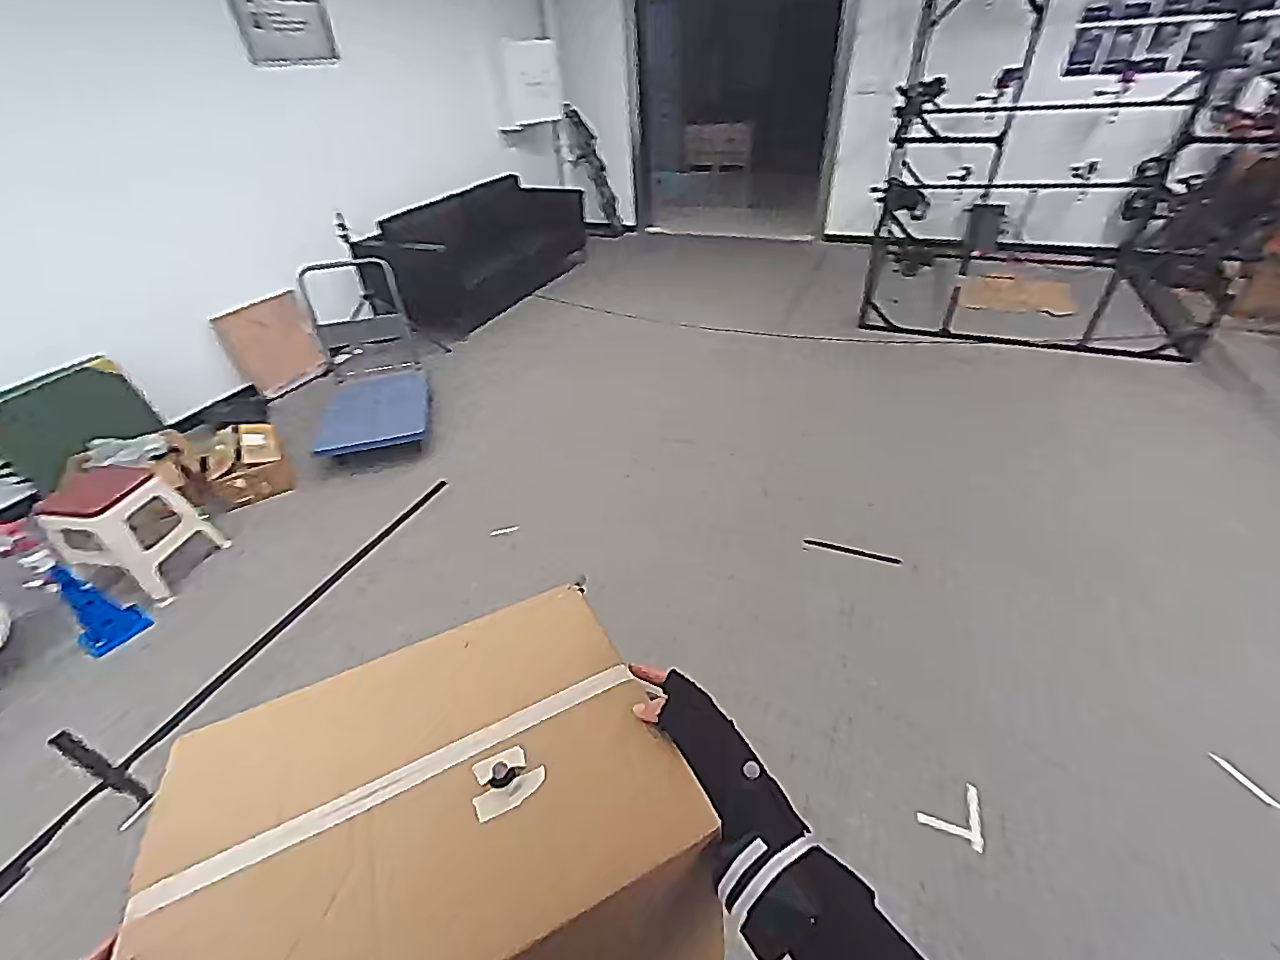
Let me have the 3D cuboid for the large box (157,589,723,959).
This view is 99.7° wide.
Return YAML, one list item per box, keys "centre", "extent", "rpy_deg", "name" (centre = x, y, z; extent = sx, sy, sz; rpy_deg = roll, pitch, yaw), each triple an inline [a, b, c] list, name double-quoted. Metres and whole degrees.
- centre: [-0.164, 0.384, 0.552]
  extent: [0.408, 0.320, 0.320]
  rpy_deg: [-18, 34, -19]
  name: "large box"
